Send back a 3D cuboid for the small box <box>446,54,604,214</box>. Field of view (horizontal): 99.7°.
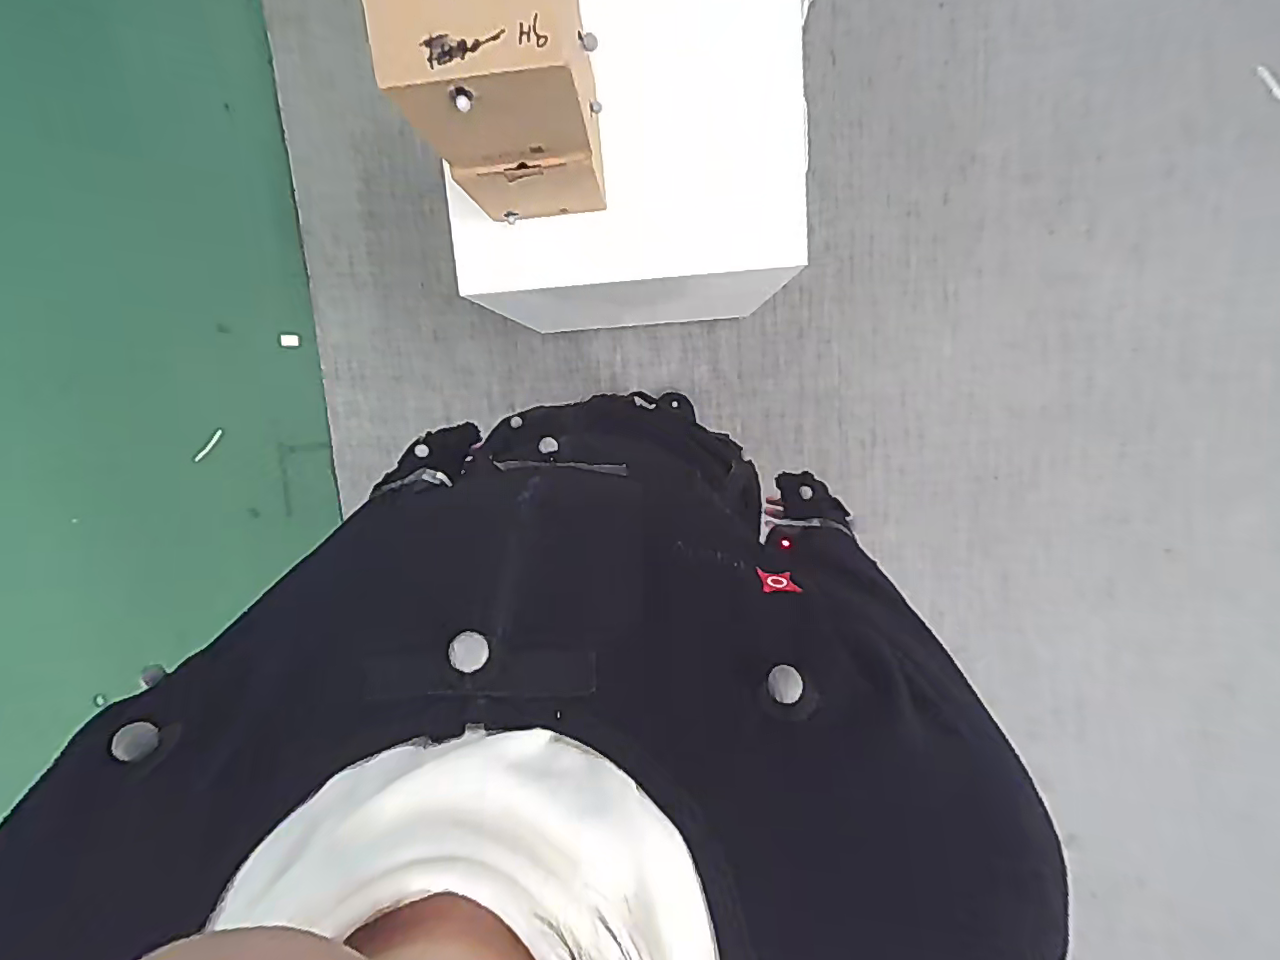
[{"bbox_3d":[-0.141,-0.453,0.682,0.168,0.176,0.179,-5,98,3],"label":"small box"}]

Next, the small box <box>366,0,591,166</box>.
[{"bbox_3d":[-0.145,-0.437,0.520,0.168,0.176,0.179,-5,98,4],"label":"small box"}]
